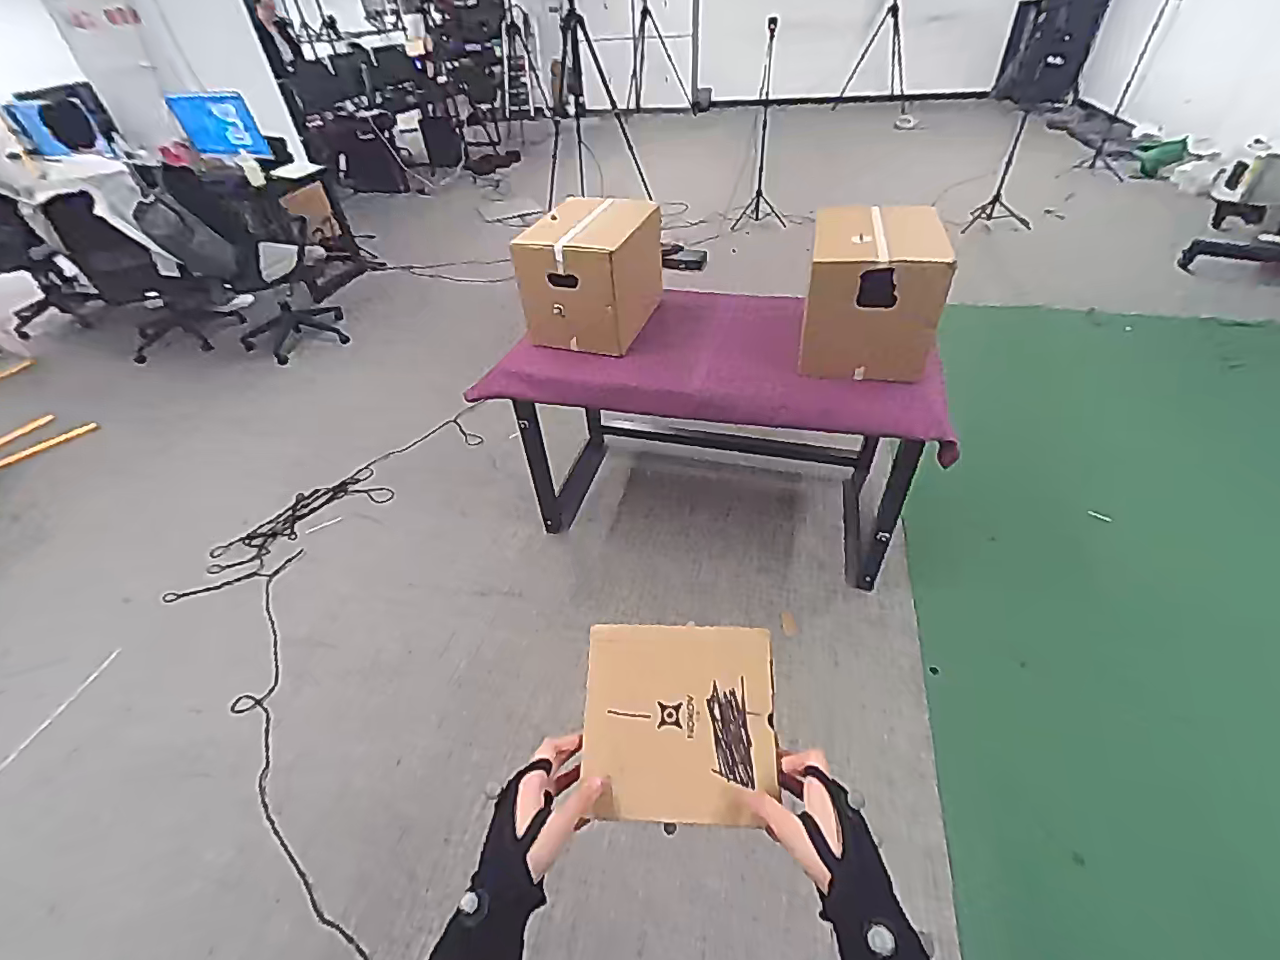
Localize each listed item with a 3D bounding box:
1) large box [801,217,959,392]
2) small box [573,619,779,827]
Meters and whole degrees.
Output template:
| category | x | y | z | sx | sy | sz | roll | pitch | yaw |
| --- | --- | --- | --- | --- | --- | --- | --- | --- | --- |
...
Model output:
| category | x | y | z | sx | sy | sz | roll | pitch | yaw |
| --- | --- | --- | --- | --- | --- | --- | --- | --- | --- |
| large box | 0.616 | -0.484 | 1.465 | 0.320 | 0.320 | 0.408 | 6 | 43 | 15 |
| small box | 0.038 | 0.248 | 0.559 | 0.179 | 0.176 | 0.168 | 0 | 62 | 5 |
